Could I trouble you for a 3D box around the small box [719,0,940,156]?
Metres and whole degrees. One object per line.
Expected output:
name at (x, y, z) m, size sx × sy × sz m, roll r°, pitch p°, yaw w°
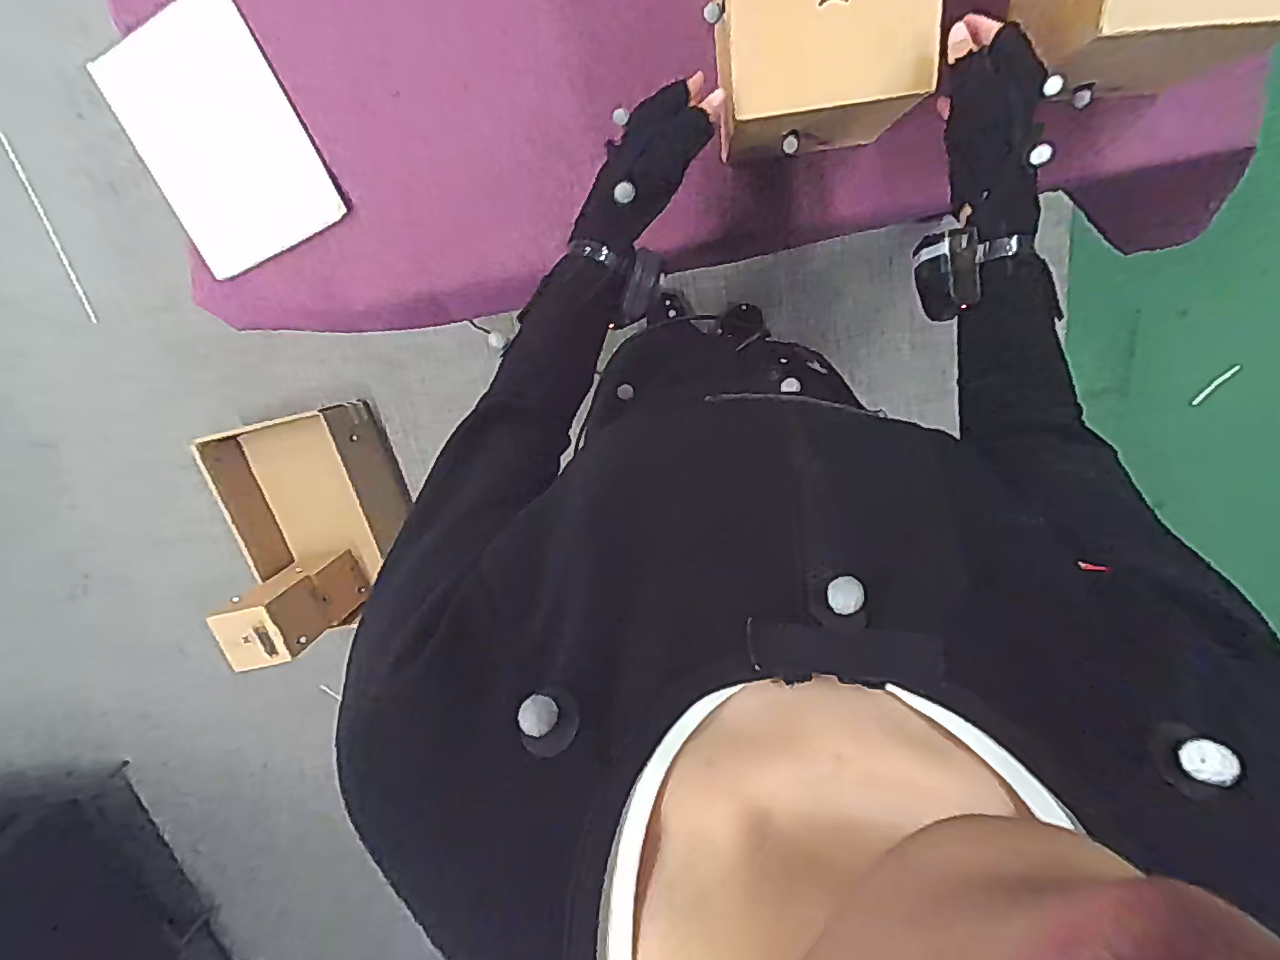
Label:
small box at (0.161, -0.415, 0.501) m, size 0.168 × 0.176 × 0.179 m, roll -4°, pitch 111°, yaw 7°
